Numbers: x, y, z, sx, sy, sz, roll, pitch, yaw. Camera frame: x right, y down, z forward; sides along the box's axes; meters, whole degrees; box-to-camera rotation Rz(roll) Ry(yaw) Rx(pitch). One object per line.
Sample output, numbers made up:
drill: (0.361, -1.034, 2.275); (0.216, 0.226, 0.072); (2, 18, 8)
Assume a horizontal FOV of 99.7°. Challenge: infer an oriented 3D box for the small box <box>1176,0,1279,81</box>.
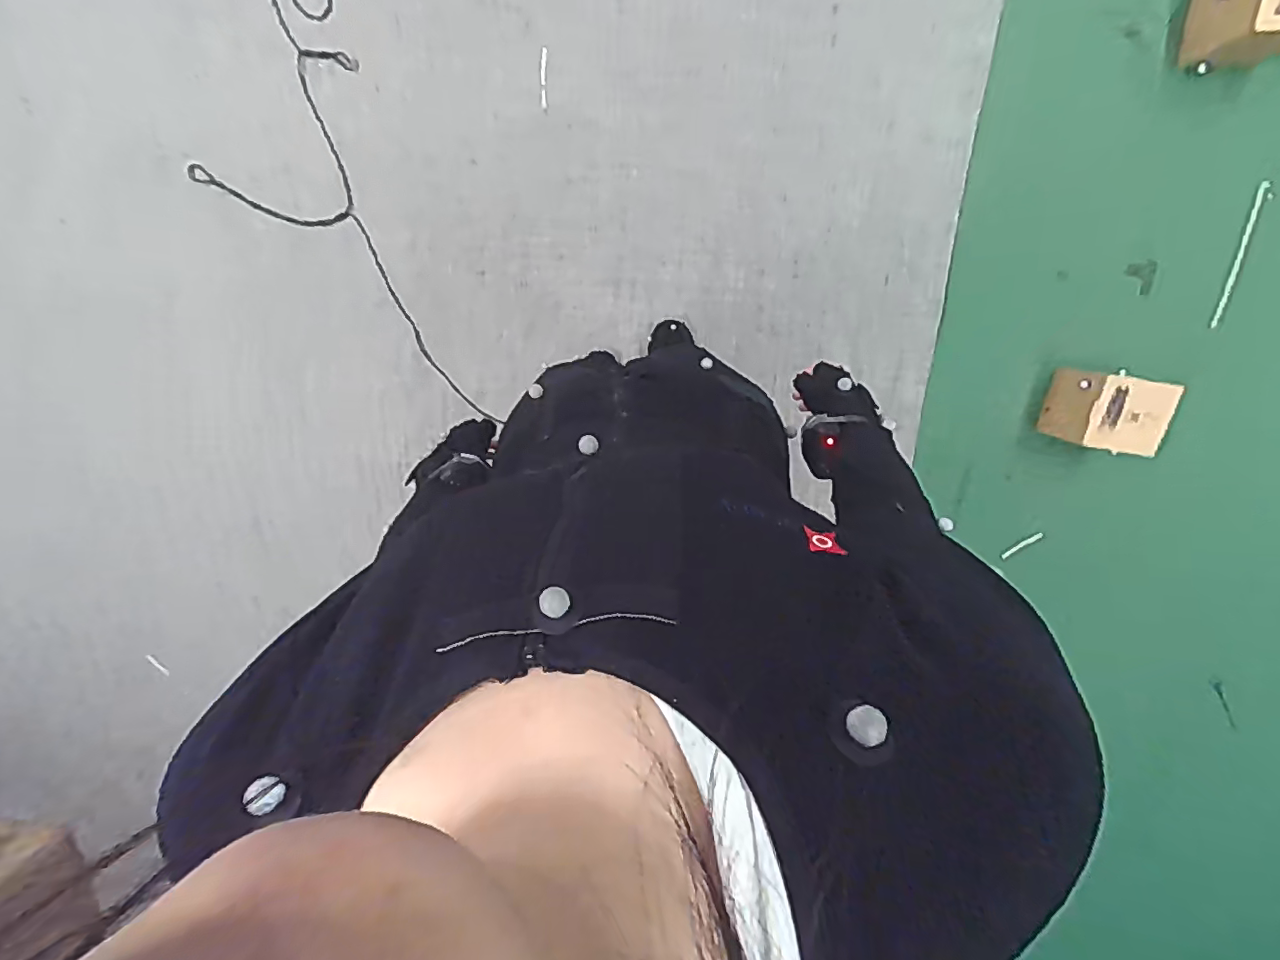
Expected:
small box: (1.236, -0.924, 1.074); (0.168, 0.176, 0.179); (1, 105, 3)
